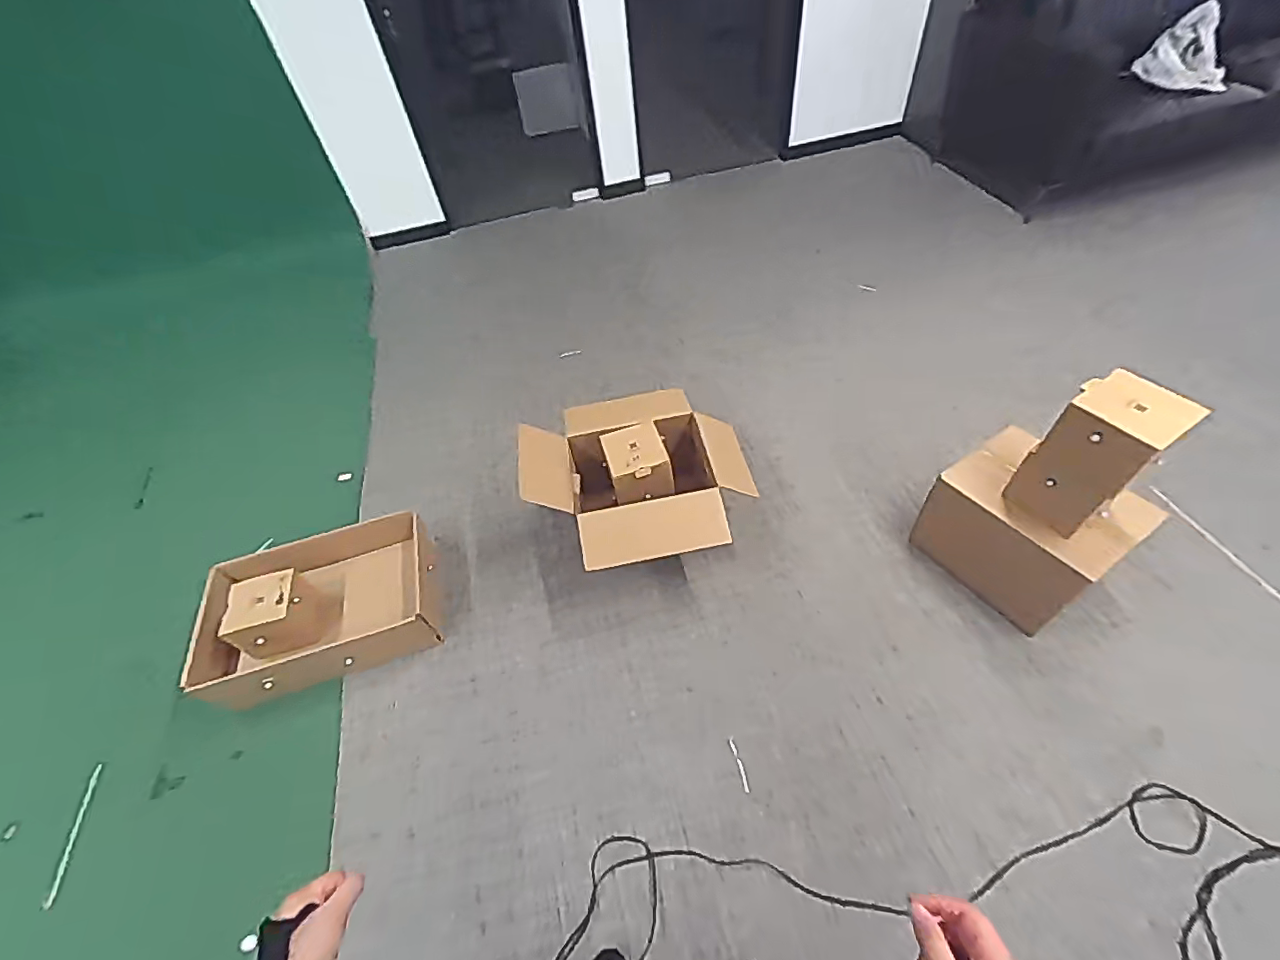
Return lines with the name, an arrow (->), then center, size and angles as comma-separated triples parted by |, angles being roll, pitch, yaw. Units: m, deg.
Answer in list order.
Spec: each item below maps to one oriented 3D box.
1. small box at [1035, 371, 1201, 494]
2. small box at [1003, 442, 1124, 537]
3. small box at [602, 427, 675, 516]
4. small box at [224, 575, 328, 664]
small box -> 1.007, -0.094, 1.158 | 0.168, 0.176, 0.179 | -30, 52, -15
small box -> 1.020, 0.002, 1.289 | 0.168, 0.176, 0.179 | -30, 53, -16
small box -> -0.003, -0.023, 1.604 | 0.168, 0.176, 0.179 | -18, 50, -4
small box -> -1.038, 0.406, 1.557 | 0.179, 0.176, 0.168 | -16, 49, -6
